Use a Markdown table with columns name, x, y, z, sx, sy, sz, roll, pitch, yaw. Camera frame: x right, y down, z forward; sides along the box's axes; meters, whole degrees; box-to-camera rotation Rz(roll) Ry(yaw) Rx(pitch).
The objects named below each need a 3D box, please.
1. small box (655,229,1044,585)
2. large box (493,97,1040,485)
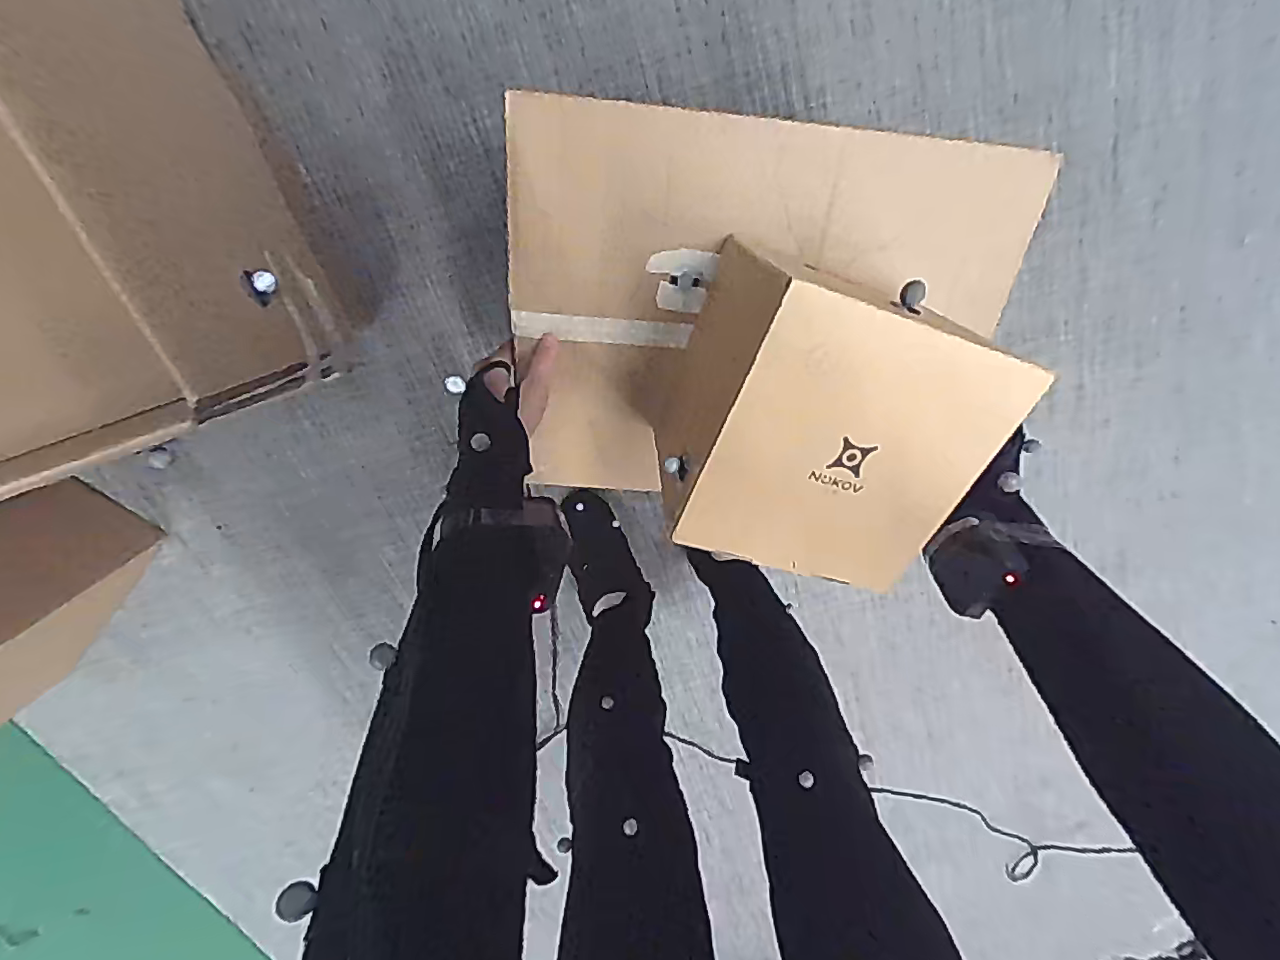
| name | x | y | z | sx | sy | sz | roll | pitch | yaw |
| --- | --- | --- | --- | --- | --- | --- | --- | --- | --- |
| small box | 0.114 | -0.059 | 0.386 | 0.168 | 0.176 | 0.179 | 15 | 121 | -12 |
| large box | 0.084 | -0.199 | 0.586 | 0.408 | 0.320 | 0.320 | 4 | 119 | -3 |
